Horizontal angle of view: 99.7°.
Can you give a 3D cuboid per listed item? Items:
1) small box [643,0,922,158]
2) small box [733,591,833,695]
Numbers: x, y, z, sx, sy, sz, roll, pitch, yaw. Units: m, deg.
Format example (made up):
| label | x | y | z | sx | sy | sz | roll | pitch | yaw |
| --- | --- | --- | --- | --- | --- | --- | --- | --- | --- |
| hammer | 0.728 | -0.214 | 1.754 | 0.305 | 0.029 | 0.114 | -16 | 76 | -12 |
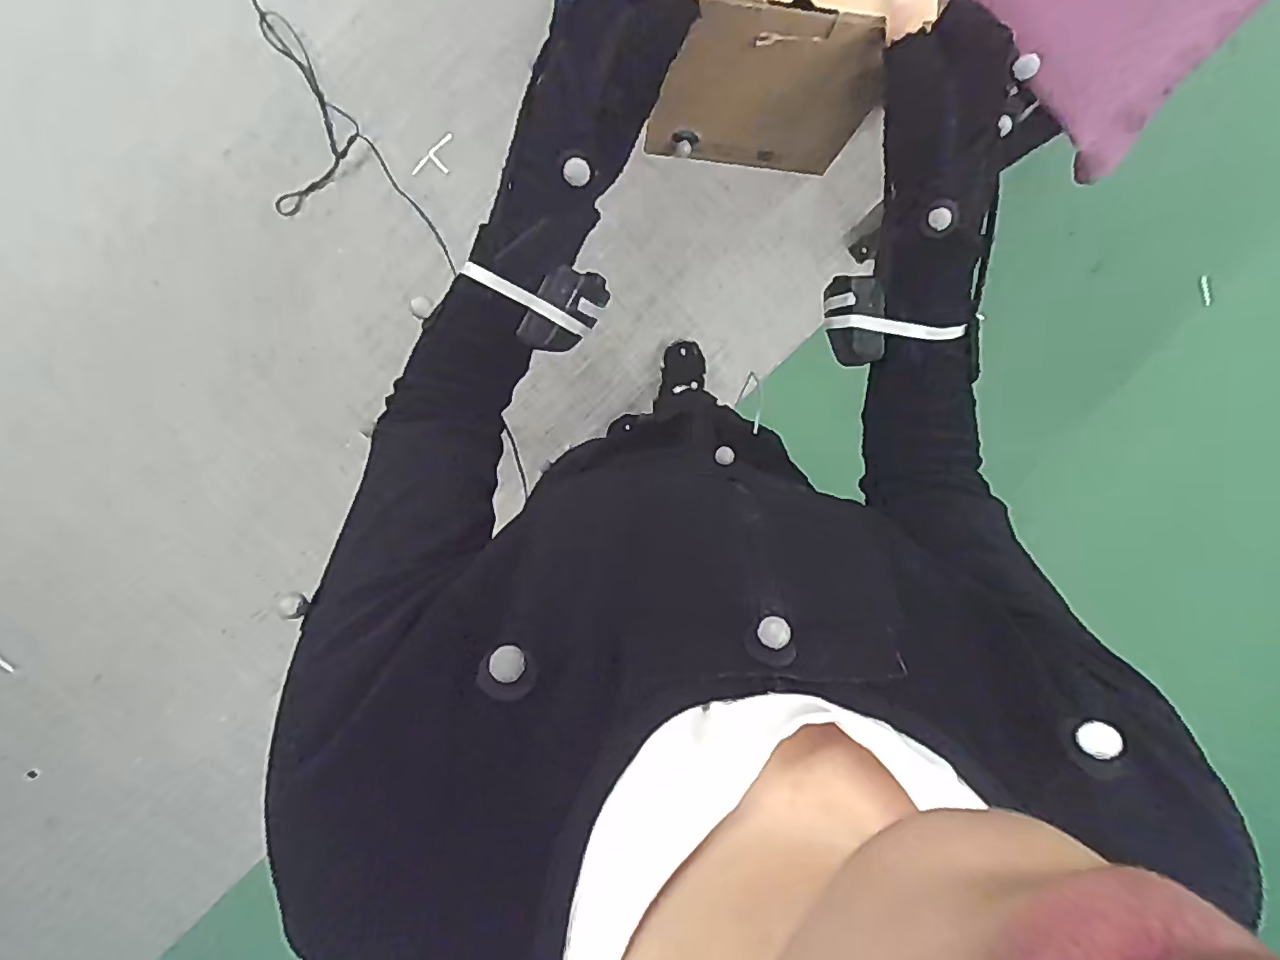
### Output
| label | x | y | z | sx | sy | sz | roll | pitch | yaw |
| --- | --- | --- | --- | --- | --- | --- | --- | --- | --- |
| small box | 0.092 | -0.375 | 0.402 | 0.168 | 0.176 | 0.179 | 4 | 90 | -4 |
| small box | 0.376 | 0.427 | 1.451 | 0.168 | 0.176 | 0.179 | -43 | 96 | 2 |
